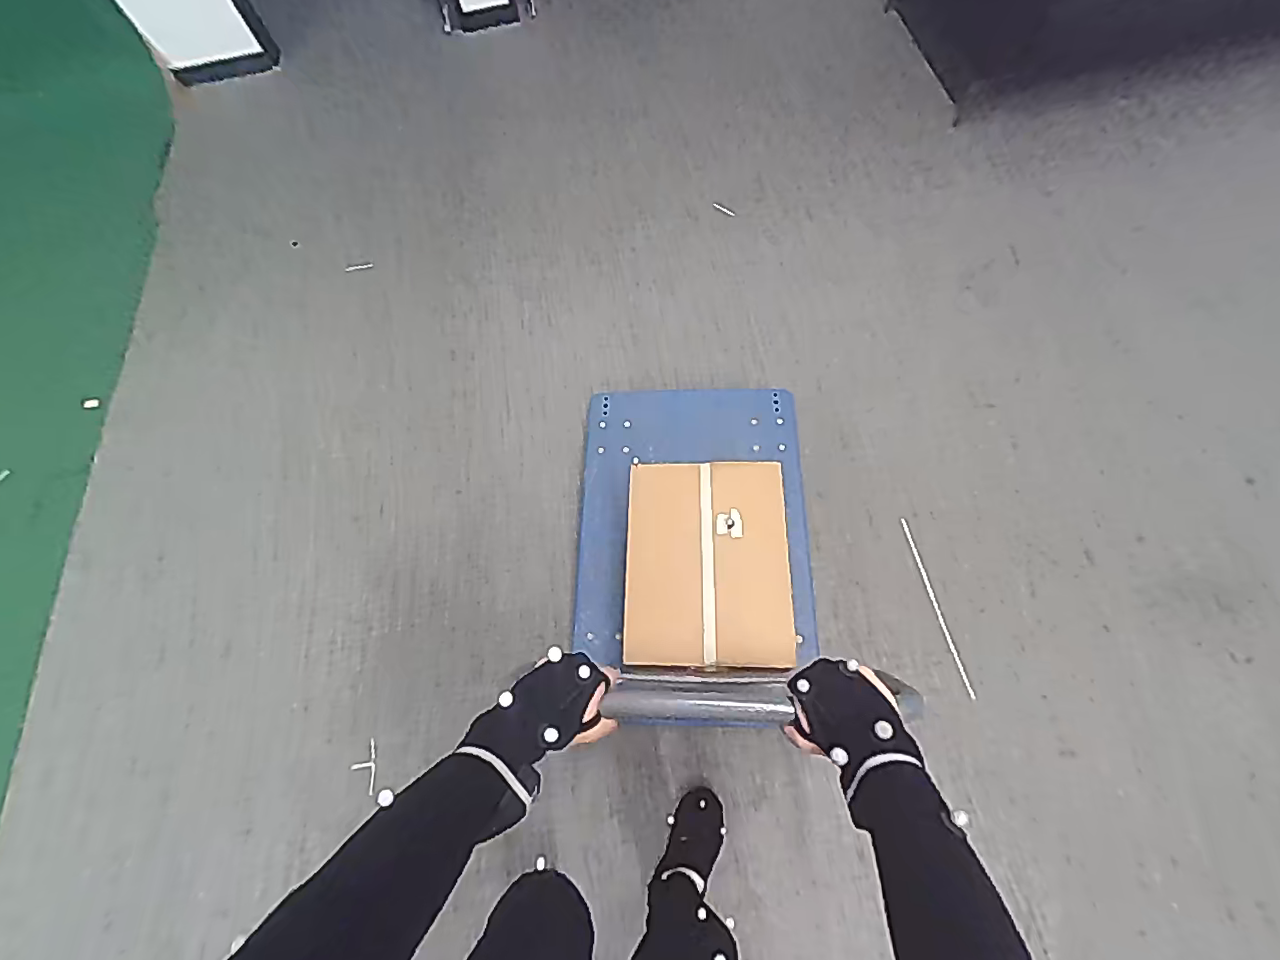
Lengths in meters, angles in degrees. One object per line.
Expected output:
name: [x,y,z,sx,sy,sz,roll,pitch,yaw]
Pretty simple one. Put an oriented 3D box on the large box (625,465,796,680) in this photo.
large box: [0.141,0.216,1.187,0.320,0.320,0.408,0,65,4]
